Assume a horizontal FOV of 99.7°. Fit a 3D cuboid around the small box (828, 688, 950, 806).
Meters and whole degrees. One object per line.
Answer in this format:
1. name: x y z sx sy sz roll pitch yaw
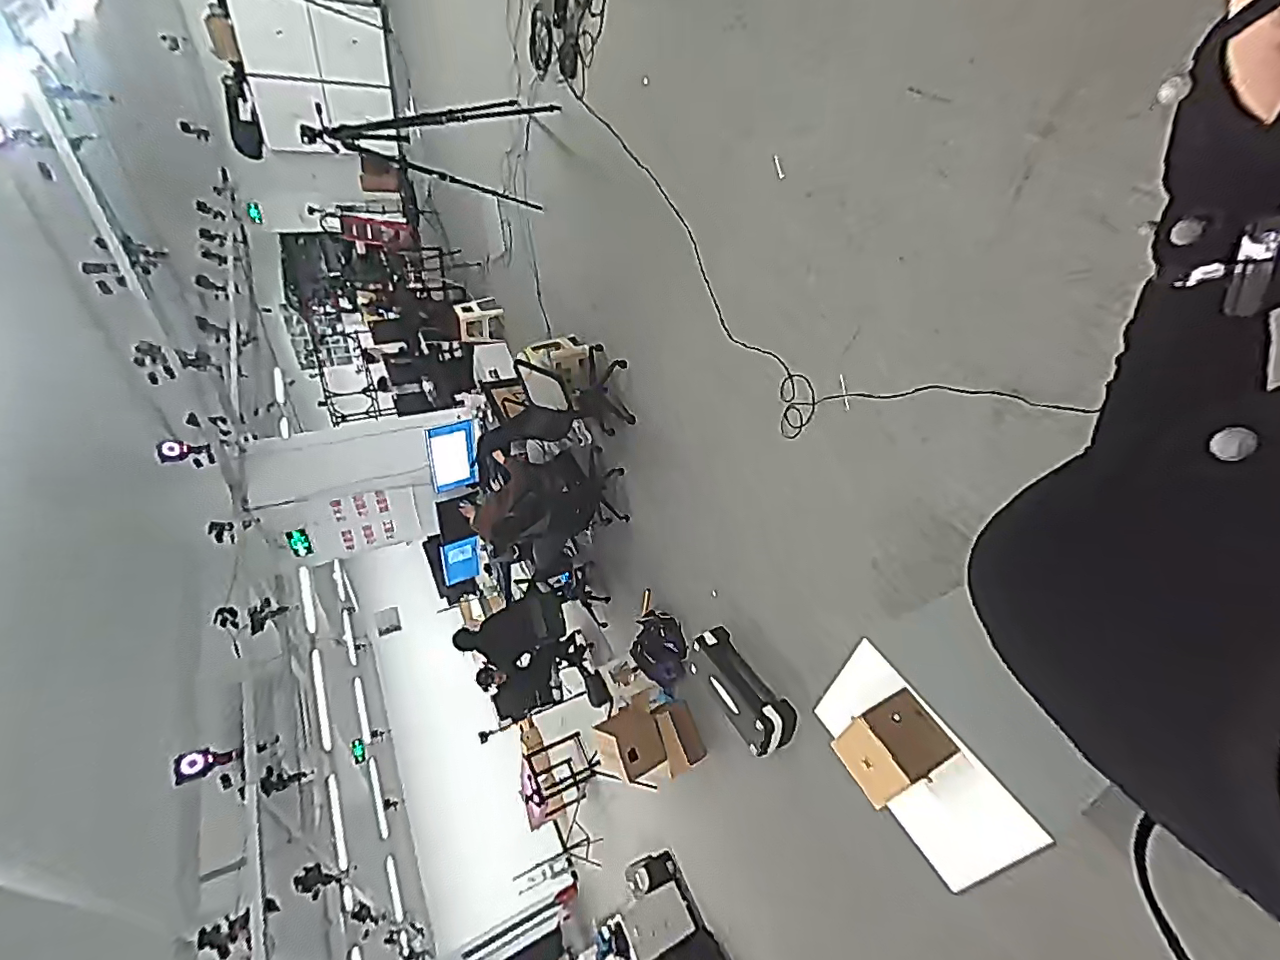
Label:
1. small box: 0.587 0.623 1.273 0.168 0.176 0.179 55 150 38
